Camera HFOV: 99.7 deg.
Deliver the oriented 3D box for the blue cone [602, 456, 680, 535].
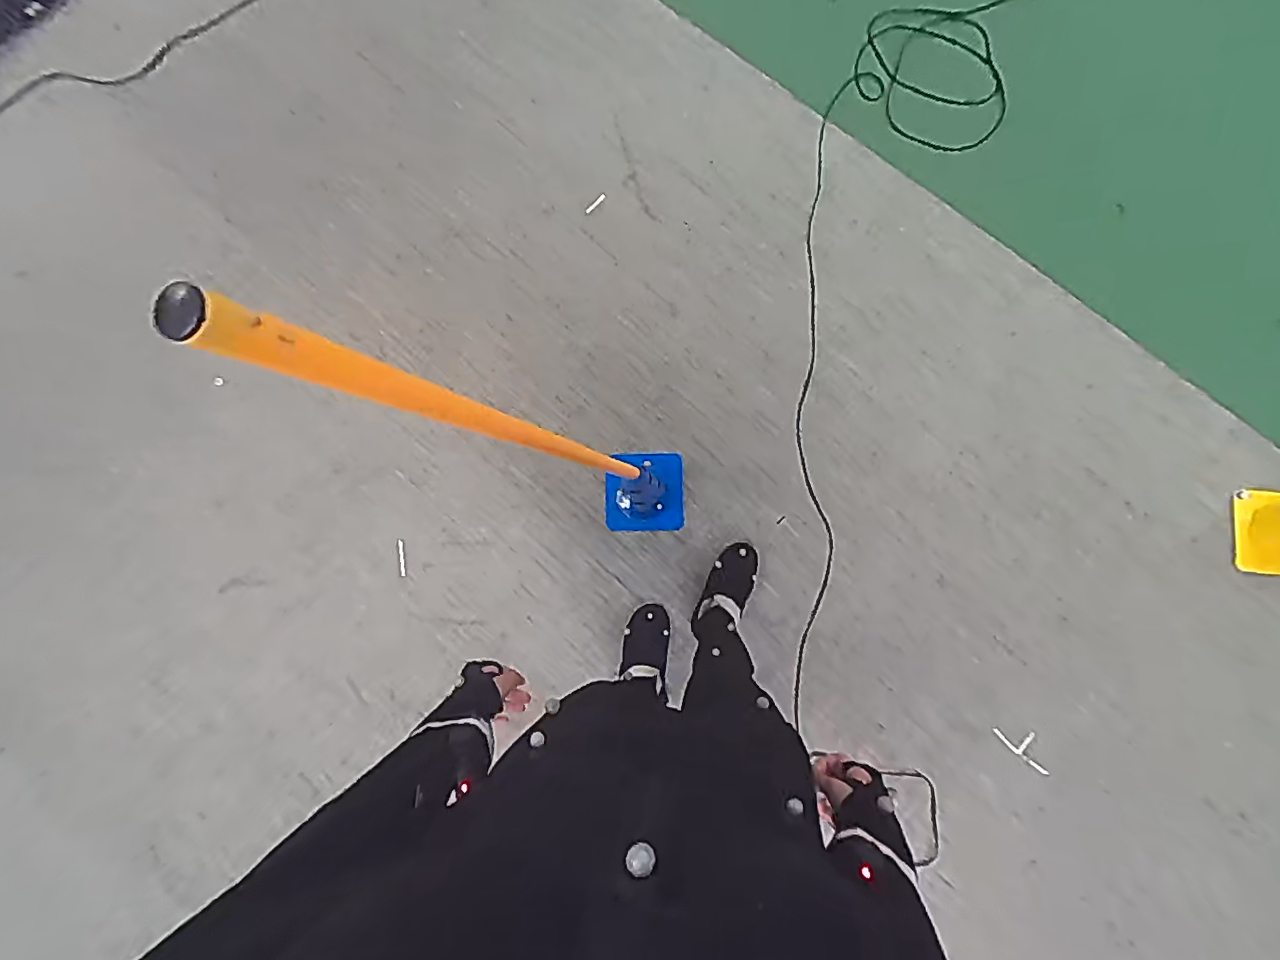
[{"bbox_3d":[-0.011,0.020,1.185,0.193,0.380,0.192,-3,83,4],"label":"blue cone"}]
